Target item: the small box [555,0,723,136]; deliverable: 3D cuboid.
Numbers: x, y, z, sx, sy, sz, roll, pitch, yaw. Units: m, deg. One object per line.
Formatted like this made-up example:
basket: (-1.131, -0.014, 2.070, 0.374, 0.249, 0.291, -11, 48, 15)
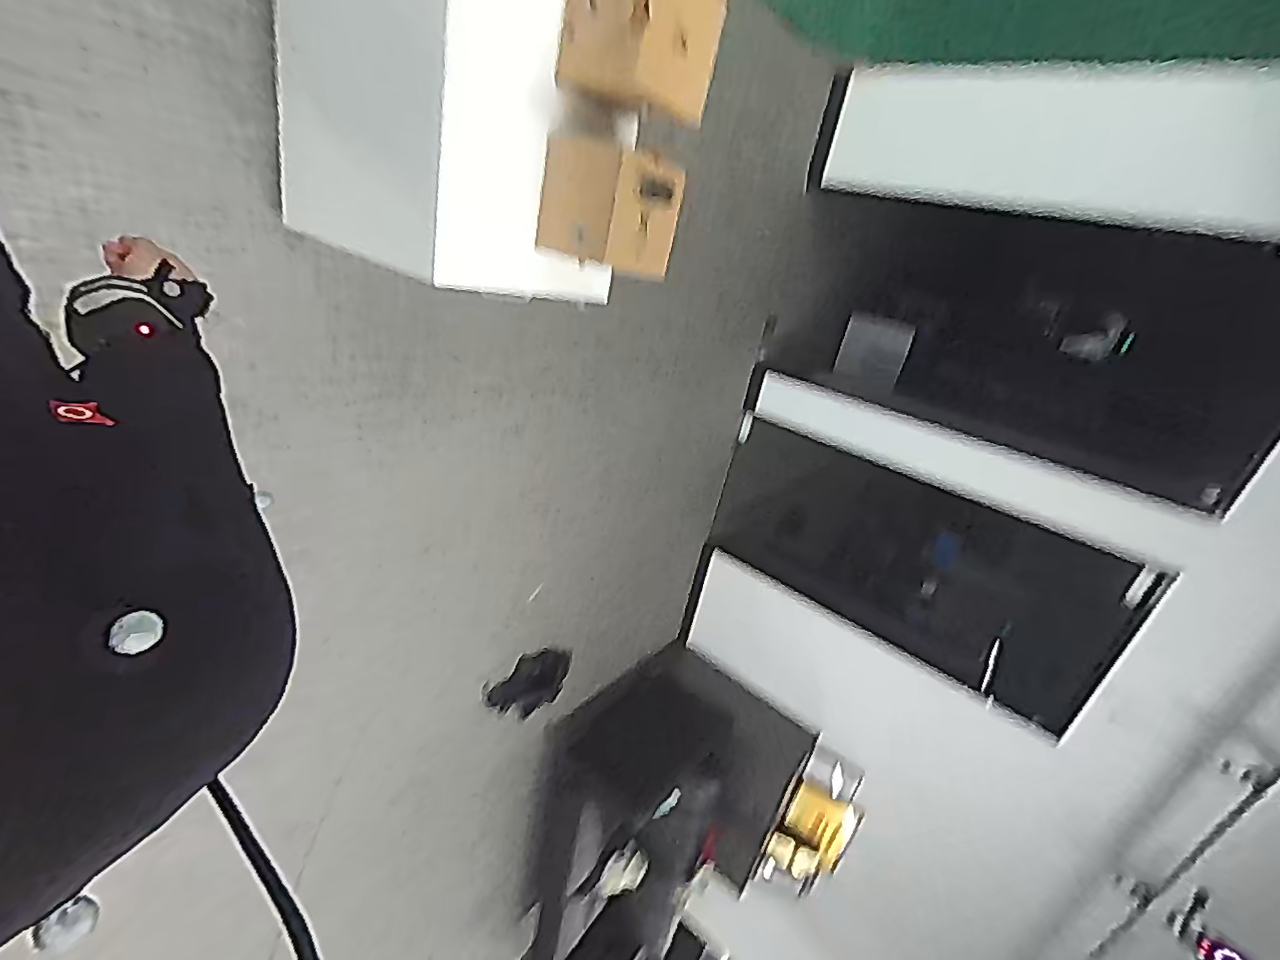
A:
small box: (-0.003, -0.663, 0.842, 0.179, 0.176, 0.168, -15, 126, -50)
